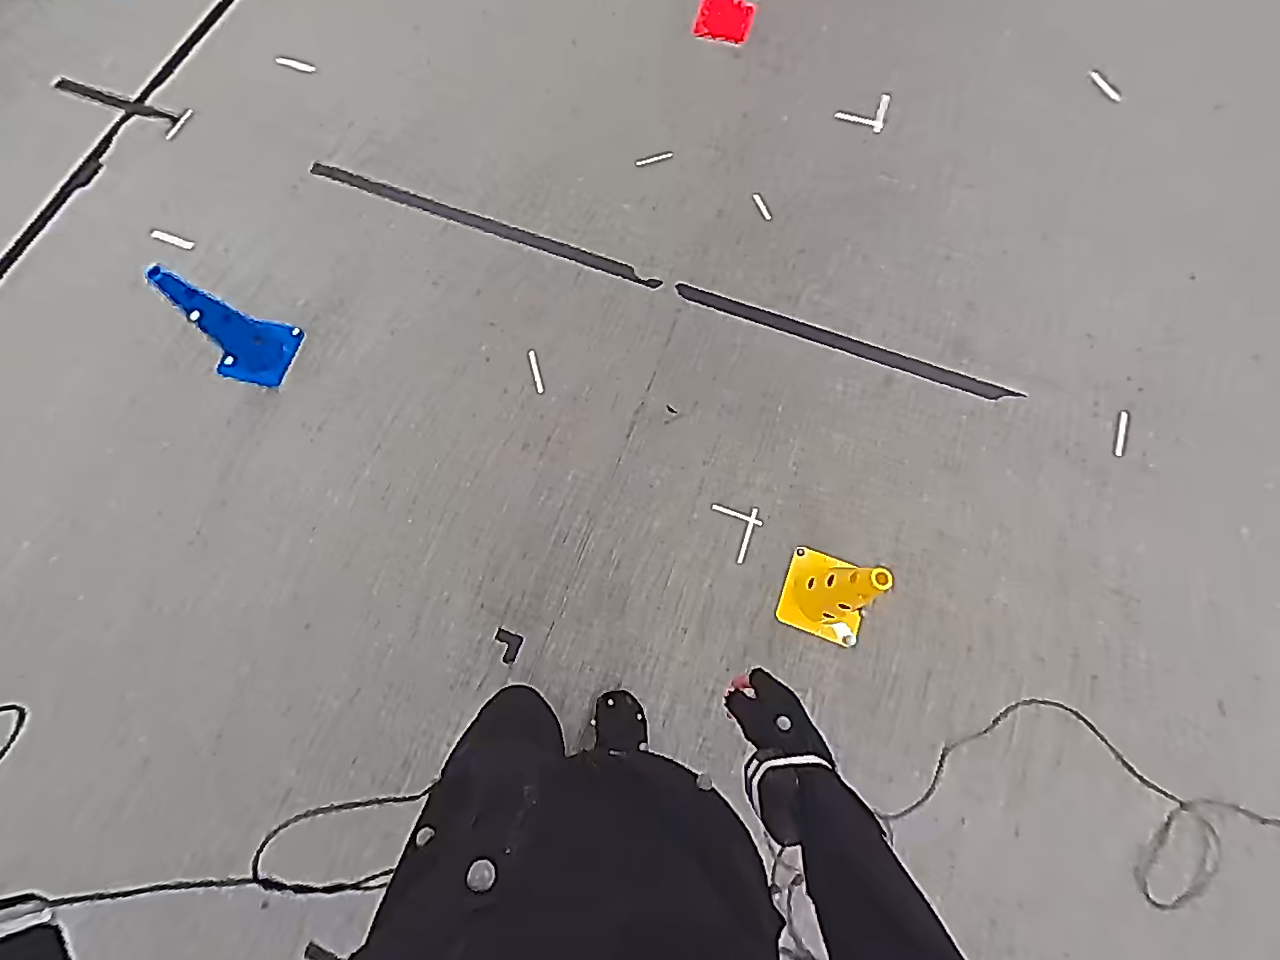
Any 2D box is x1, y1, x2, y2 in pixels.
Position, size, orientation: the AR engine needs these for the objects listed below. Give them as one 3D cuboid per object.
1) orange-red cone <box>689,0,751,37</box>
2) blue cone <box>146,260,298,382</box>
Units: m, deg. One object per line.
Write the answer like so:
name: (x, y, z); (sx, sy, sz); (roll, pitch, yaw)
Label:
orange-red cone: (0.286, -1.739, 1.799); (0.199, 0.360, 0.198); (15, 73, 7)
blue cone: (-1.118, -0.428, 1.420); (0.193, 0.380, 0.192); (15, 73, 6)
